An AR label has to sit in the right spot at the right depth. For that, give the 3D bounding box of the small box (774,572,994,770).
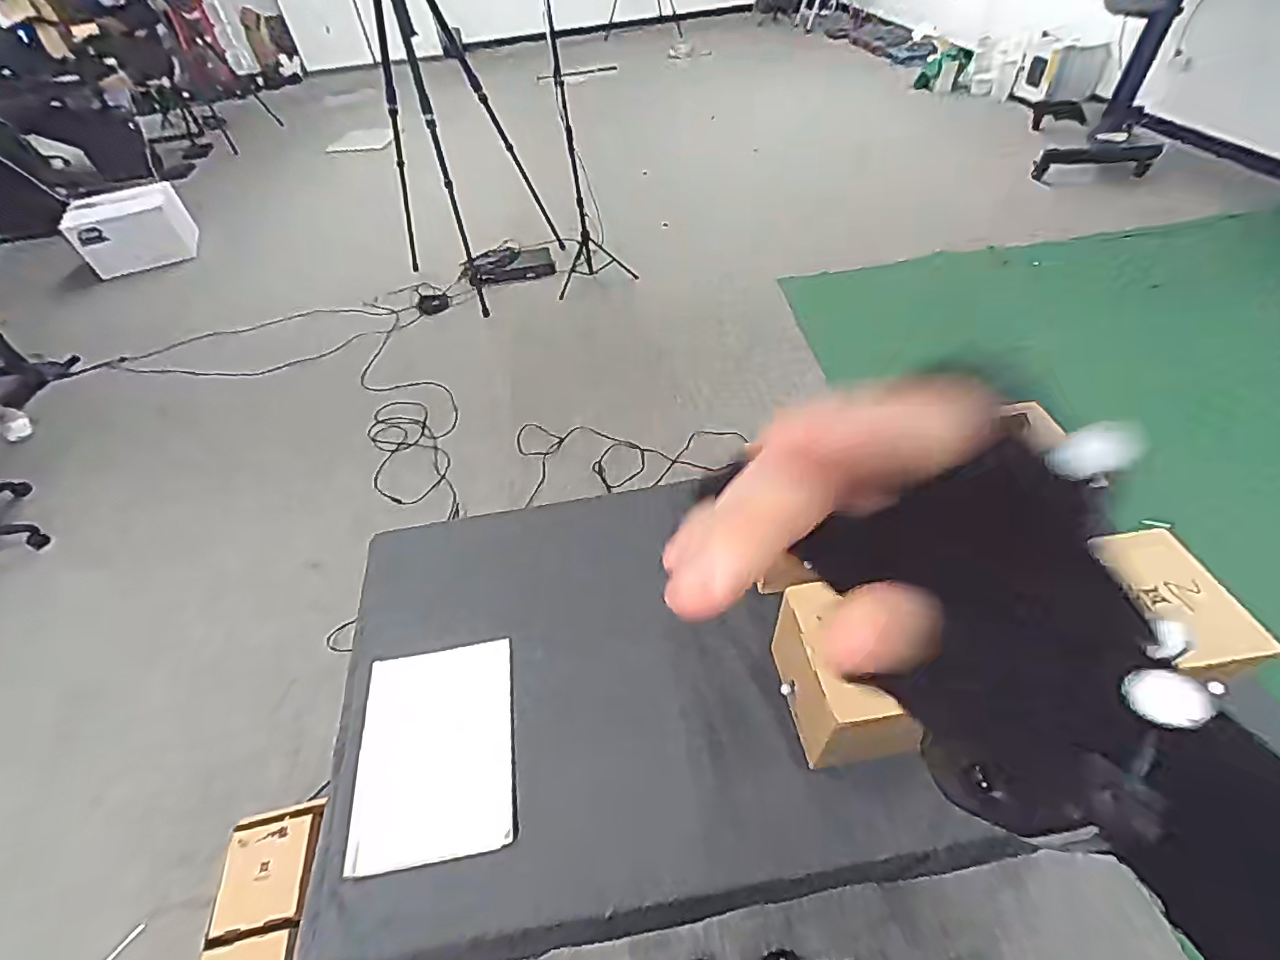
[{"bbox_3d":[0.278,0.237,0.665,0.179,0.176,0.168,-9,47,-1],"label":"small box"}]

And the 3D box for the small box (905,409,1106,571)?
[{"bbox_3d":[0.540,0.017,0.834,0.168,0.176,0.179,-7,49,0],"label":"small box"}]

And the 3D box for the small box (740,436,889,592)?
[{"bbox_3d":[0.253,0.059,0.832,0.168,0.176,0.179,-7,48,0],"label":"small box"}]
